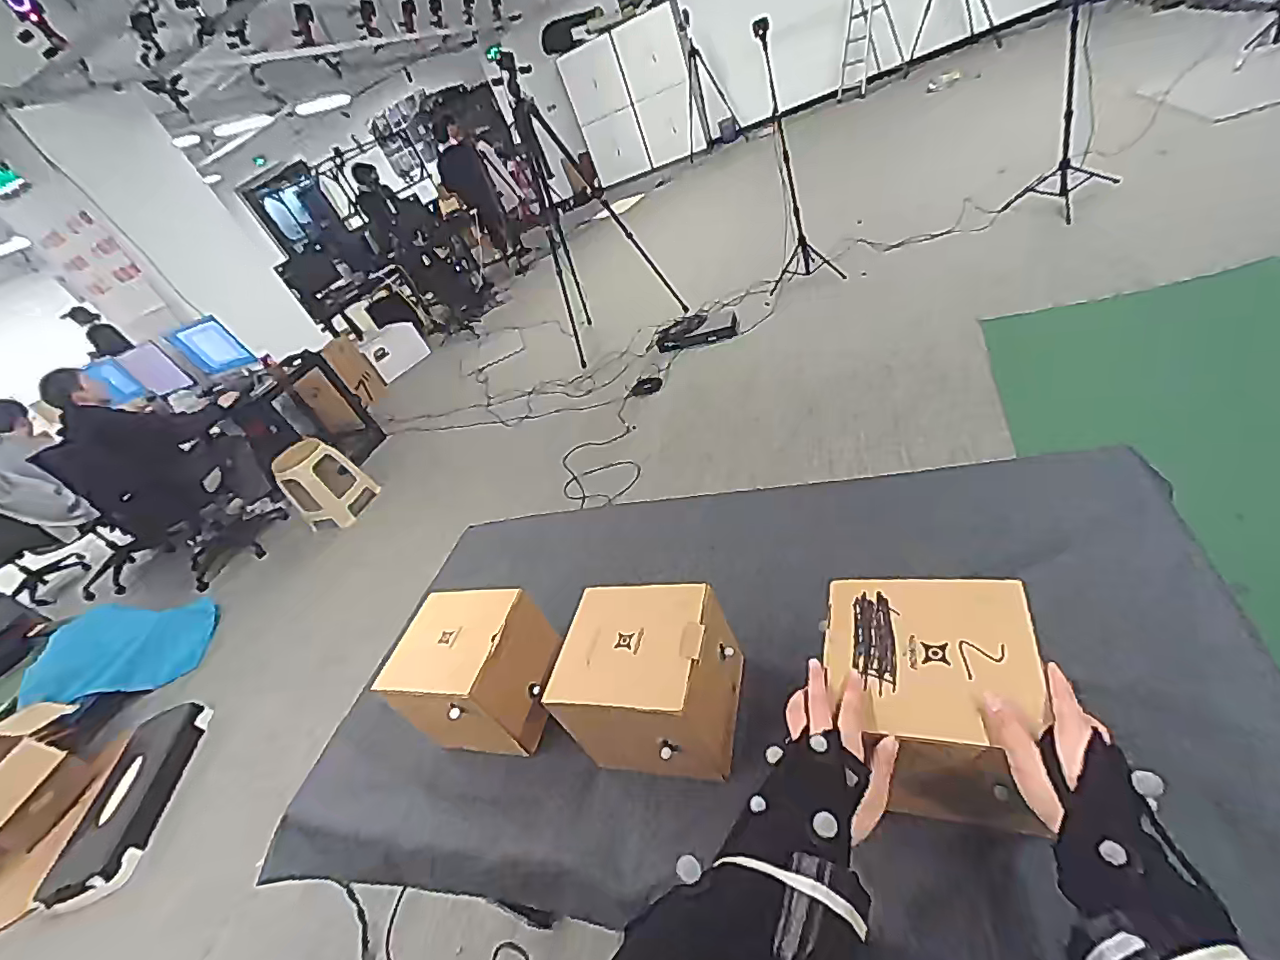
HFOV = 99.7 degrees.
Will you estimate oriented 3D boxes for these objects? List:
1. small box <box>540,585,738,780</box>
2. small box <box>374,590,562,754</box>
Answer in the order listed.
[{"bbox_3d":[0.013,0.251,0.675,0.179,0.176,0.168,-9,36,26],"label":"small box"},{"bbox_3d":[-0.238,0.282,0.798,0.179,0.176,0.168,-7,38,24],"label":"small box"}]
